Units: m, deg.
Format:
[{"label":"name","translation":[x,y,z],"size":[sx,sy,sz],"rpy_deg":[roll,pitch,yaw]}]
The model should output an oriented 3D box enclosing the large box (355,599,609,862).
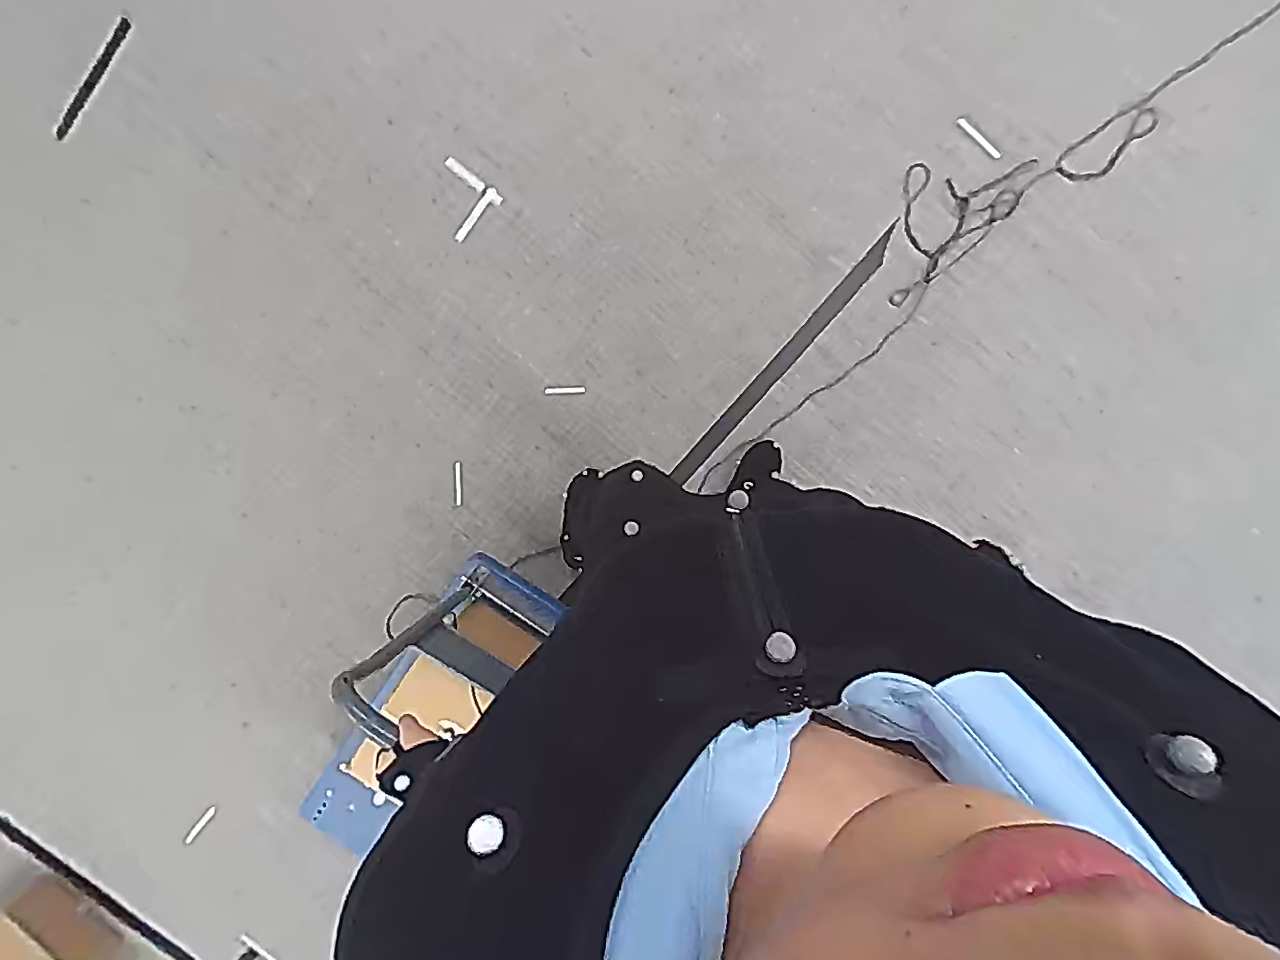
[{"label":"large box","translation":[-0.330,0.544,1.242],"size":[0.408,0.320,0.320],"rpy_deg":[34,96,-1]}]
